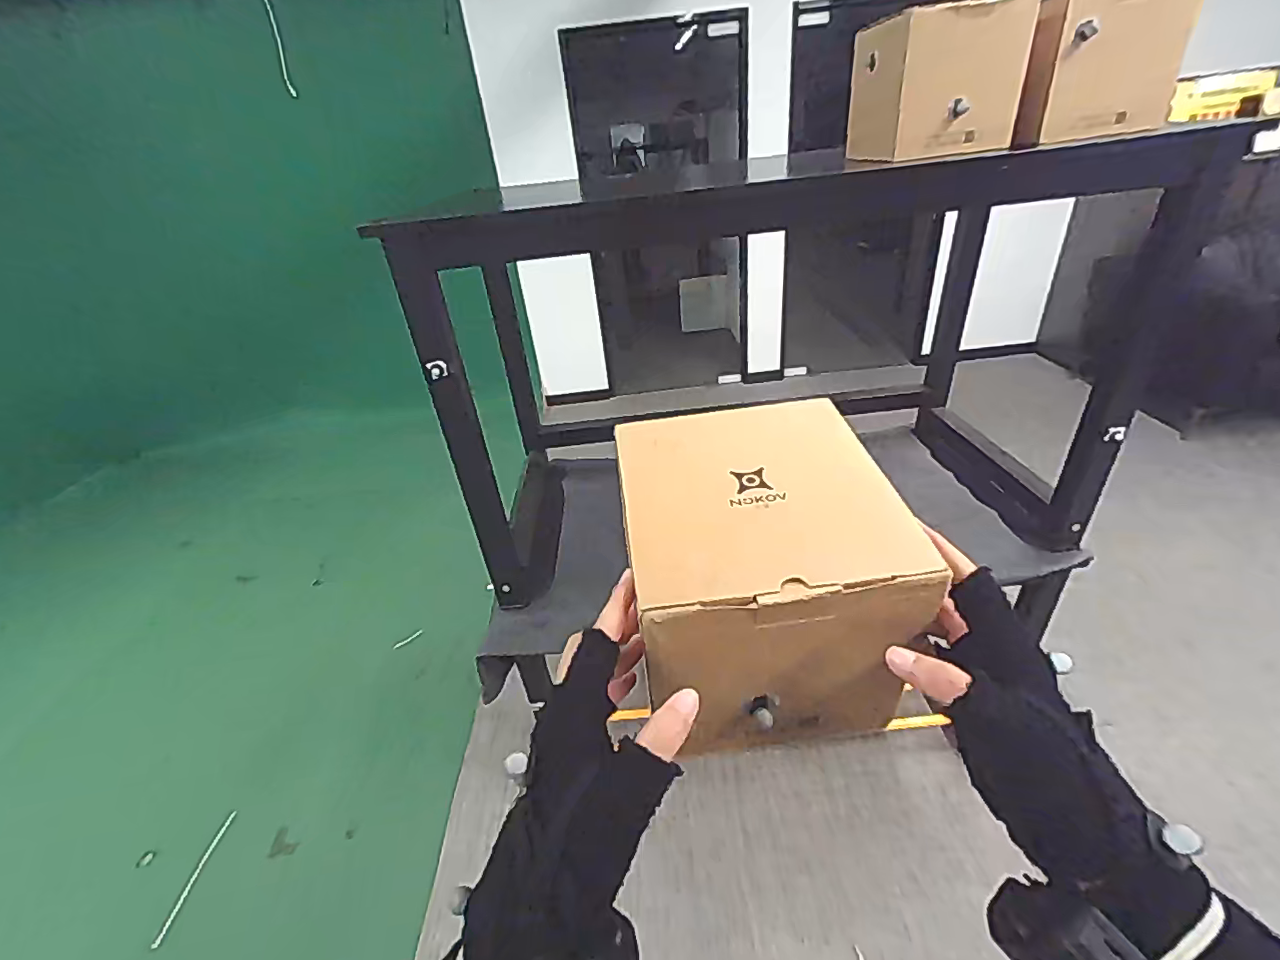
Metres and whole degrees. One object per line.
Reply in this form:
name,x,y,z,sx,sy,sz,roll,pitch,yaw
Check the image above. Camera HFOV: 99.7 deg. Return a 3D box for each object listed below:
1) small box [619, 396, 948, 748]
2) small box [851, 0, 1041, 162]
small box,0.076,0.061,0.391,0.168,0.176,0.179,-7,39,-2
small box,0.421,-0.565,0.783,0.168,0.176,0.179,-7,32,0
